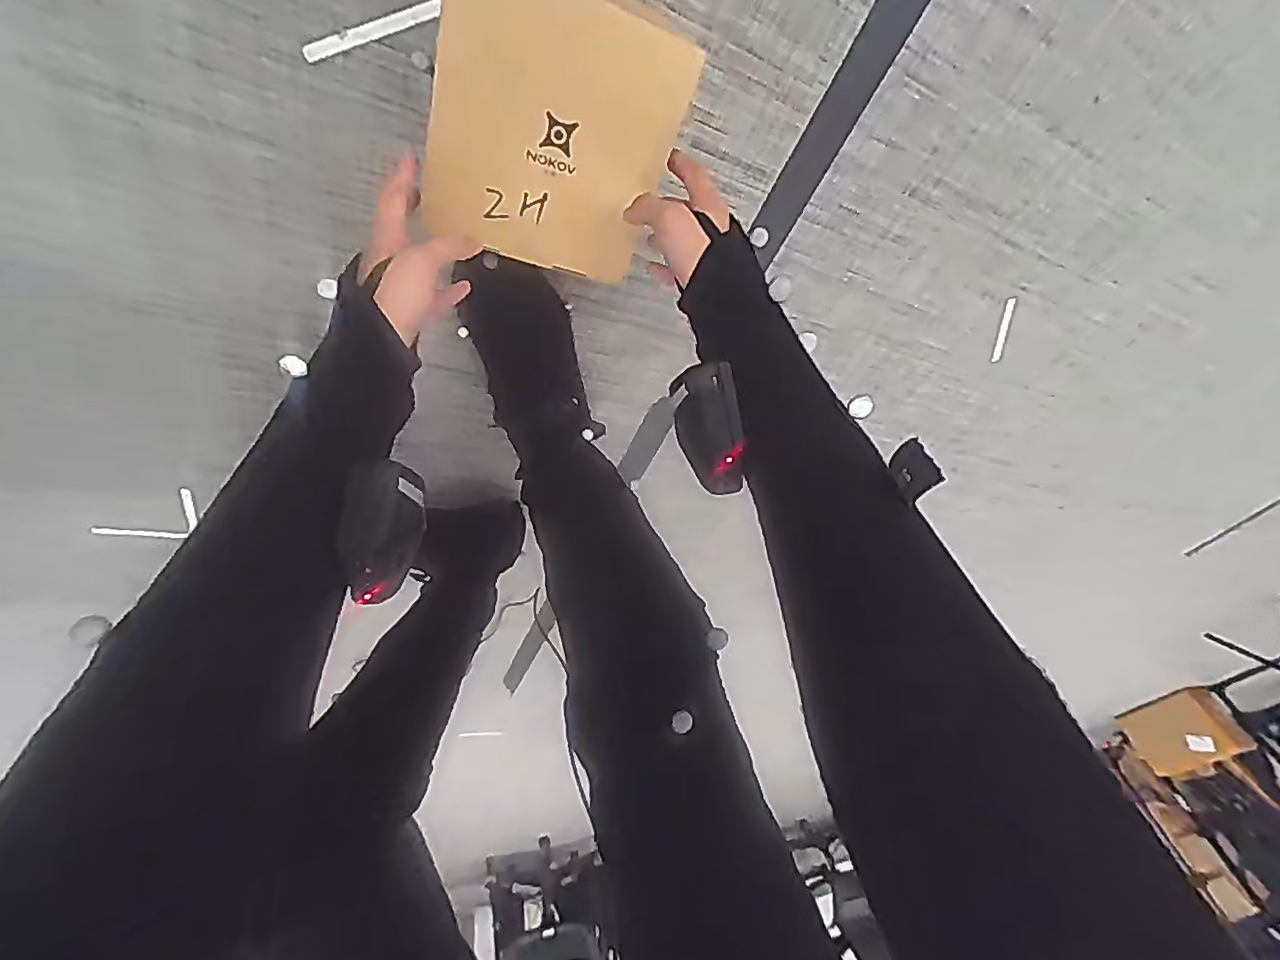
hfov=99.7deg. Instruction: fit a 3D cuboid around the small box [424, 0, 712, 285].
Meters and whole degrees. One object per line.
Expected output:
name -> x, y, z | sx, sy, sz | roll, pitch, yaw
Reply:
small box -> -0.071, -0.295, 0.433 | 0.168, 0.176, 0.179 | 8, 135, -24
